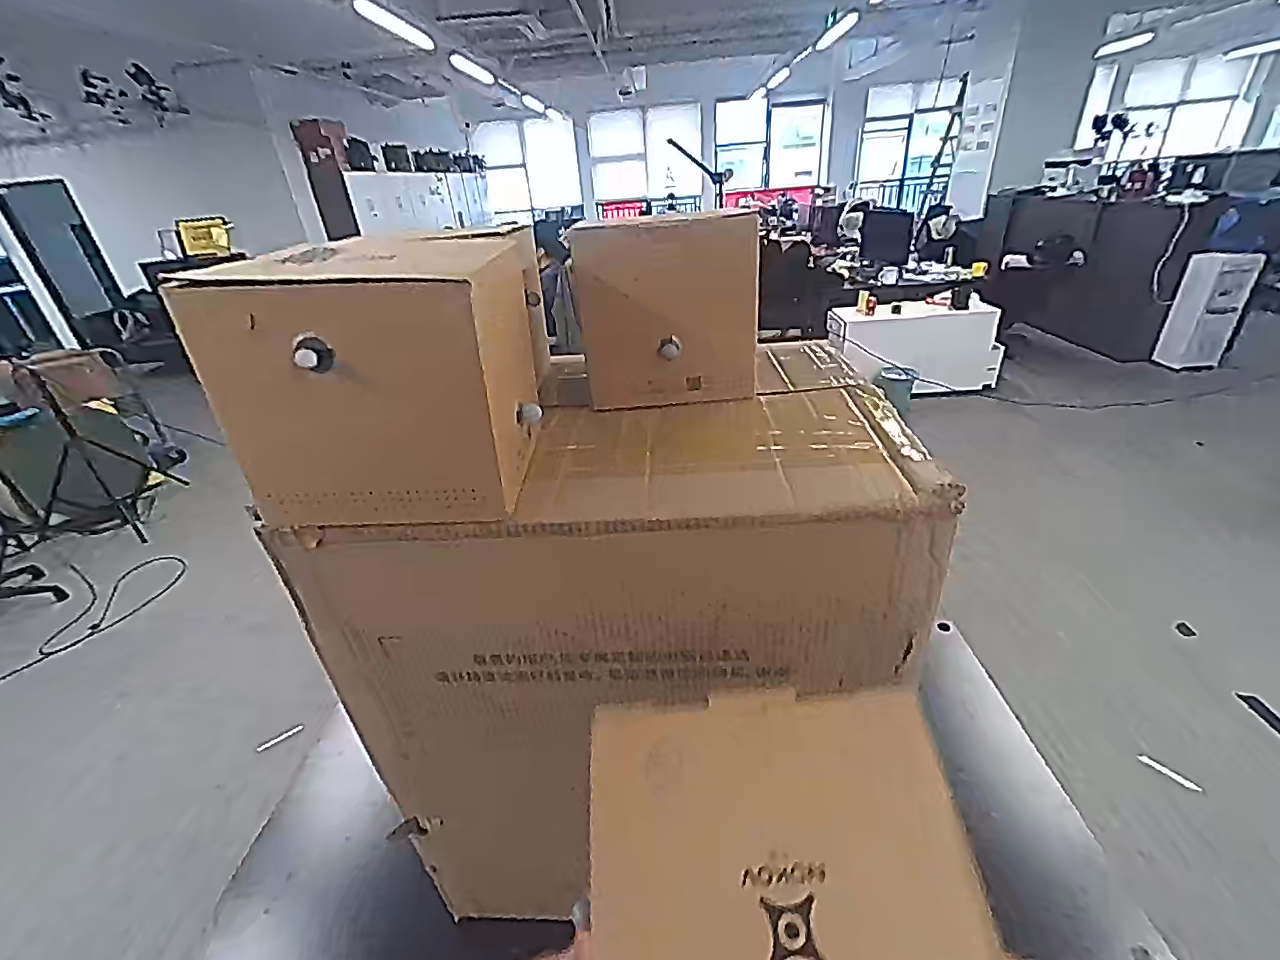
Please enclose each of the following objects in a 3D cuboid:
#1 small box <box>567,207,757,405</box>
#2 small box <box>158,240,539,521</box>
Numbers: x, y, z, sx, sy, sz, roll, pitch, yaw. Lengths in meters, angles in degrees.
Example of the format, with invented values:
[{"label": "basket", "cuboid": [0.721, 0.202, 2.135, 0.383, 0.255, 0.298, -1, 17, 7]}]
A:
[{"label": "small box", "cuboid": [0.025, -0.187, 0.572, 0.168, 0.176, 0.179, -5, 28, 2]}, {"label": "small box", "cuboid": [-0.182, -0.079, 0.408, 0.179, 0.176, 0.168, -1, 30, 0]}]
